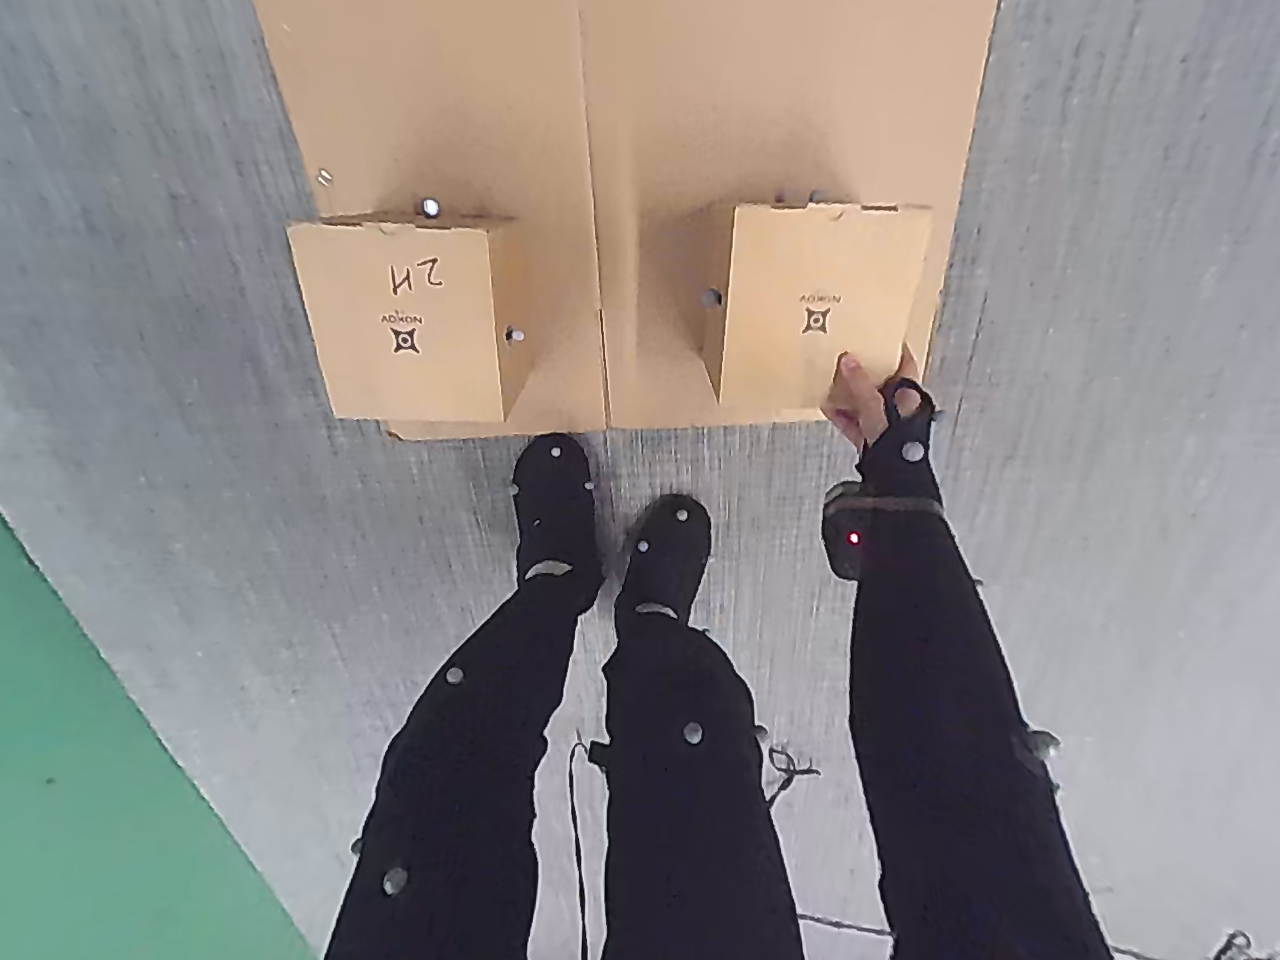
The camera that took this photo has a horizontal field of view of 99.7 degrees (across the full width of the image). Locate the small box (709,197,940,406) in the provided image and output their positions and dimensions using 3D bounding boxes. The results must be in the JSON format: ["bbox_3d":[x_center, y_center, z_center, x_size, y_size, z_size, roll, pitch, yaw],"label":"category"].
[{"bbox_3d":[0.163,-0.186,0.547,0.168,0.176,0.179,1,116,0],"label":"small box"}]

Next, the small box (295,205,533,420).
[{"bbox_3d":[-0.205,-0.176,0.551,0.168,0.176,0.179,2,118,-3],"label":"small box"}]
